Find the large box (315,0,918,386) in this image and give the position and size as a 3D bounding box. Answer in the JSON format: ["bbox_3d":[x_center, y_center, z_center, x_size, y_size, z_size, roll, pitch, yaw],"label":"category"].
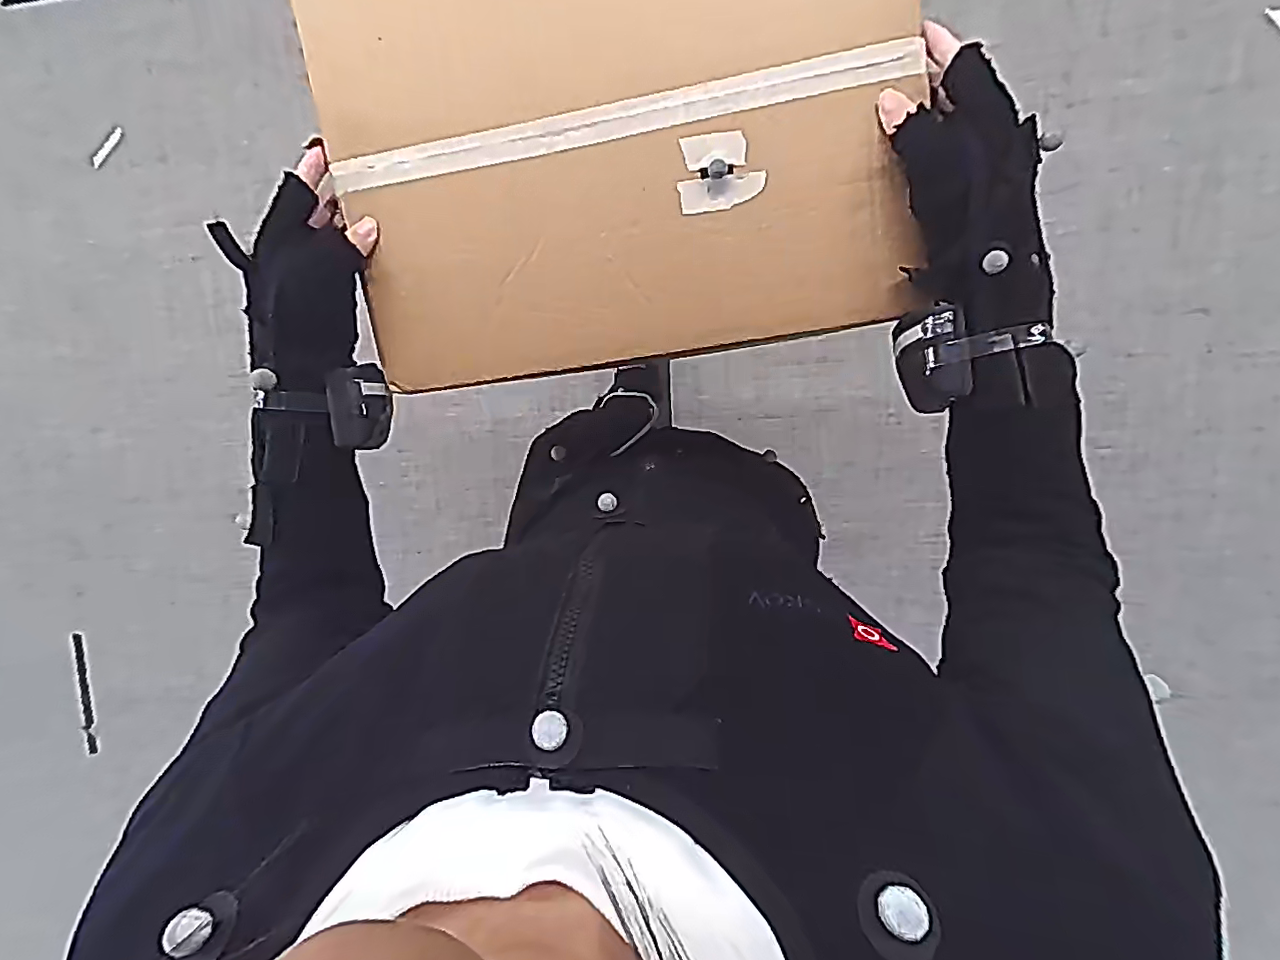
[{"bbox_3d":[-0.006,-0.281,0.528,0.408,0.320,0.320,-7,102,6],"label":"large box"}]
